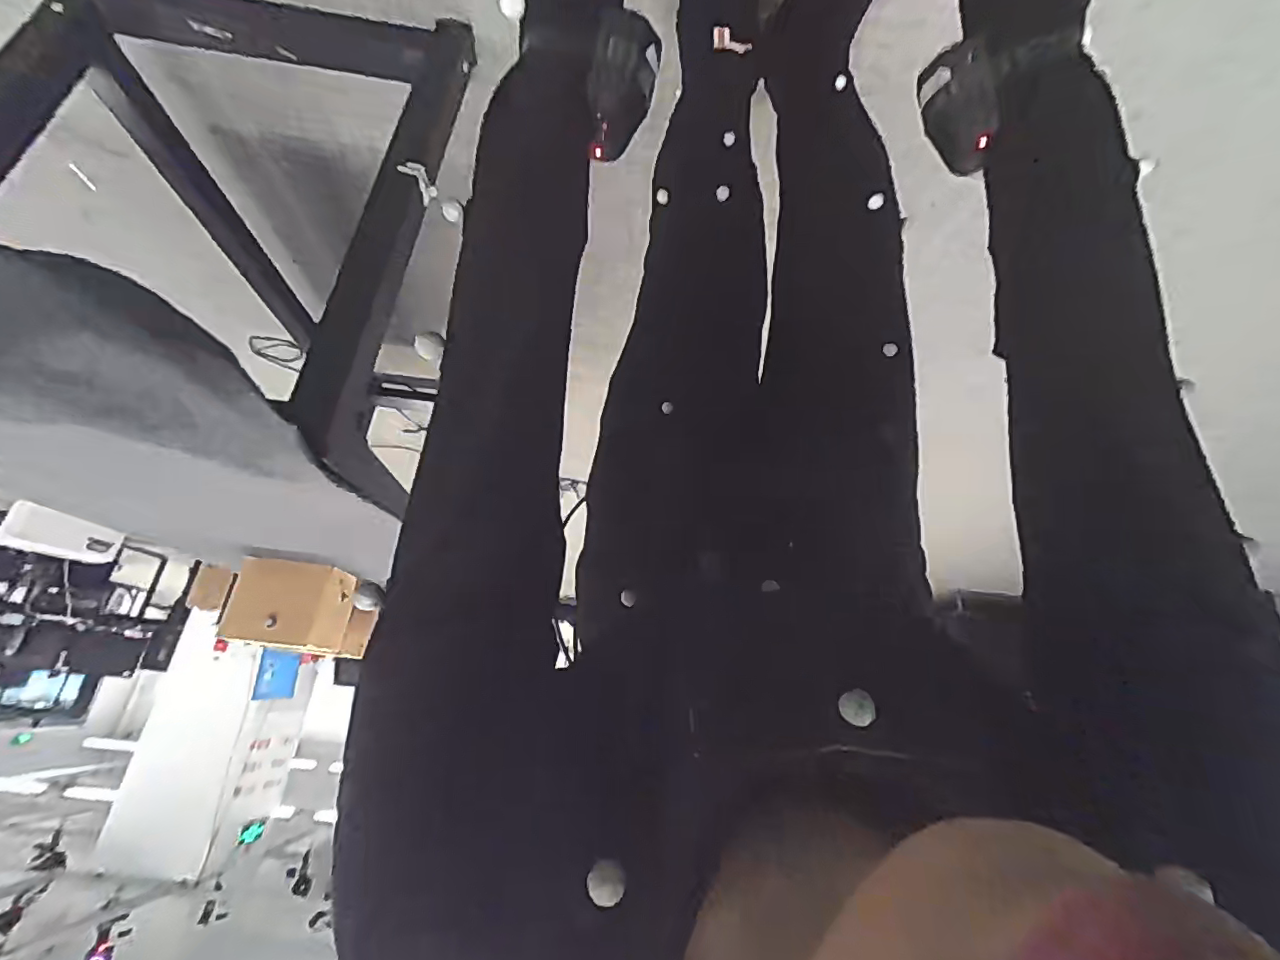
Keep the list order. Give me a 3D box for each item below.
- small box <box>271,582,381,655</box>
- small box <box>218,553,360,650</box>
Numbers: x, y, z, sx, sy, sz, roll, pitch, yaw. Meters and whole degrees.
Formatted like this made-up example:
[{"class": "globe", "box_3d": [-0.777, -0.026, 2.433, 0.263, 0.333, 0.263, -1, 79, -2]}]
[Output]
[{"class": "small box", "box_3d": [-0.779, 0.344, 1.369, 0.179, 0.176, 0.168, 7, 158, -1]}, {"class": "small box", "box_3d": [-0.732, 0.259, 1.150, 0.179, 0.176, 0.168, 7, 158, -4]}]
